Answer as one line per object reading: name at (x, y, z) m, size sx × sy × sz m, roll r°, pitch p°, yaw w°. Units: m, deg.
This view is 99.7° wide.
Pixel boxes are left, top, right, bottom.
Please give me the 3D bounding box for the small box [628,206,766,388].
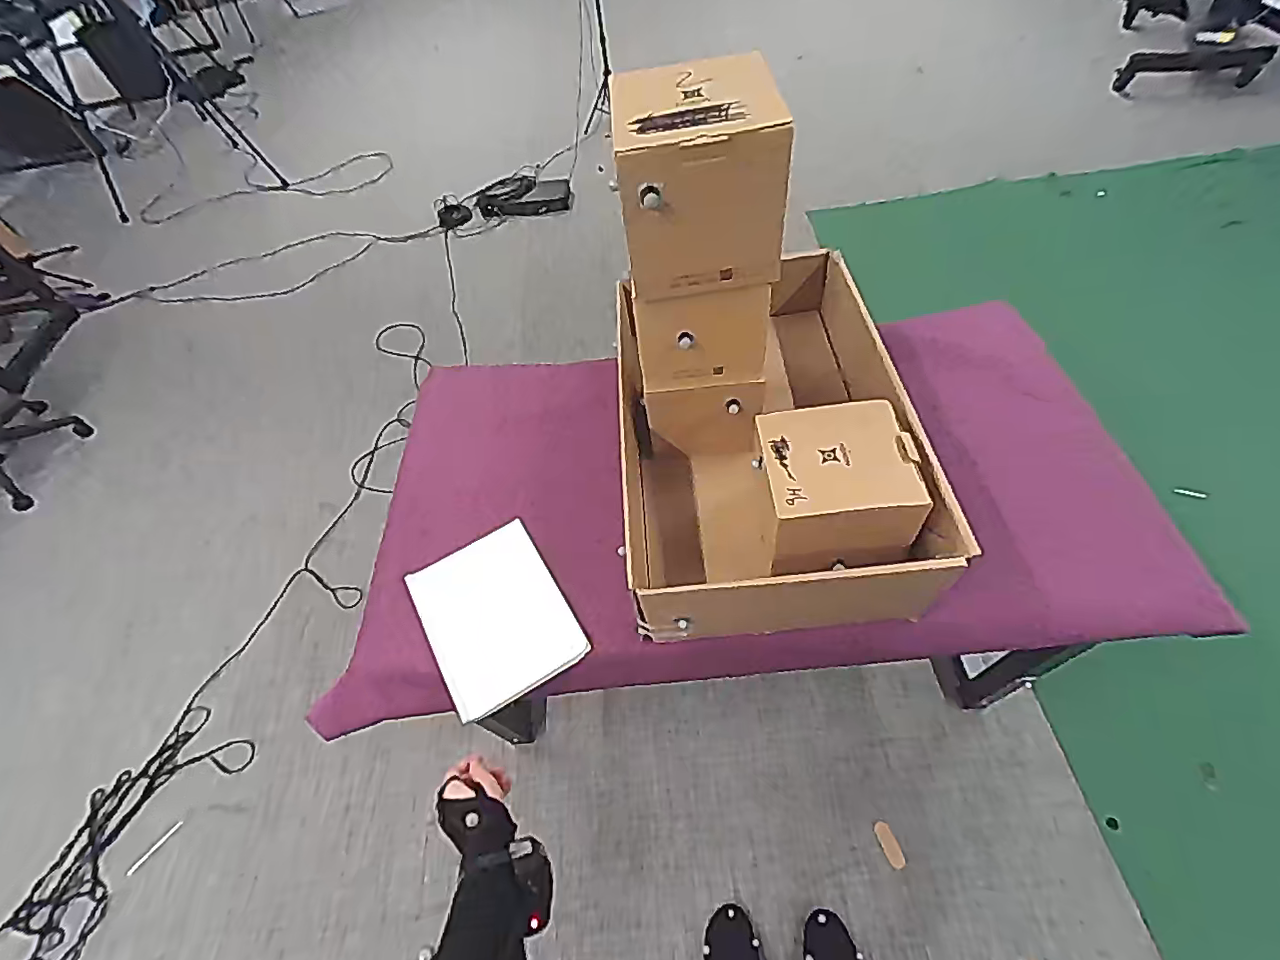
small box at (0.077, -0.241, 0.746) m, size 0.168 × 0.176 × 0.179 m, roll -5°, pitch 55°, yaw 5°
